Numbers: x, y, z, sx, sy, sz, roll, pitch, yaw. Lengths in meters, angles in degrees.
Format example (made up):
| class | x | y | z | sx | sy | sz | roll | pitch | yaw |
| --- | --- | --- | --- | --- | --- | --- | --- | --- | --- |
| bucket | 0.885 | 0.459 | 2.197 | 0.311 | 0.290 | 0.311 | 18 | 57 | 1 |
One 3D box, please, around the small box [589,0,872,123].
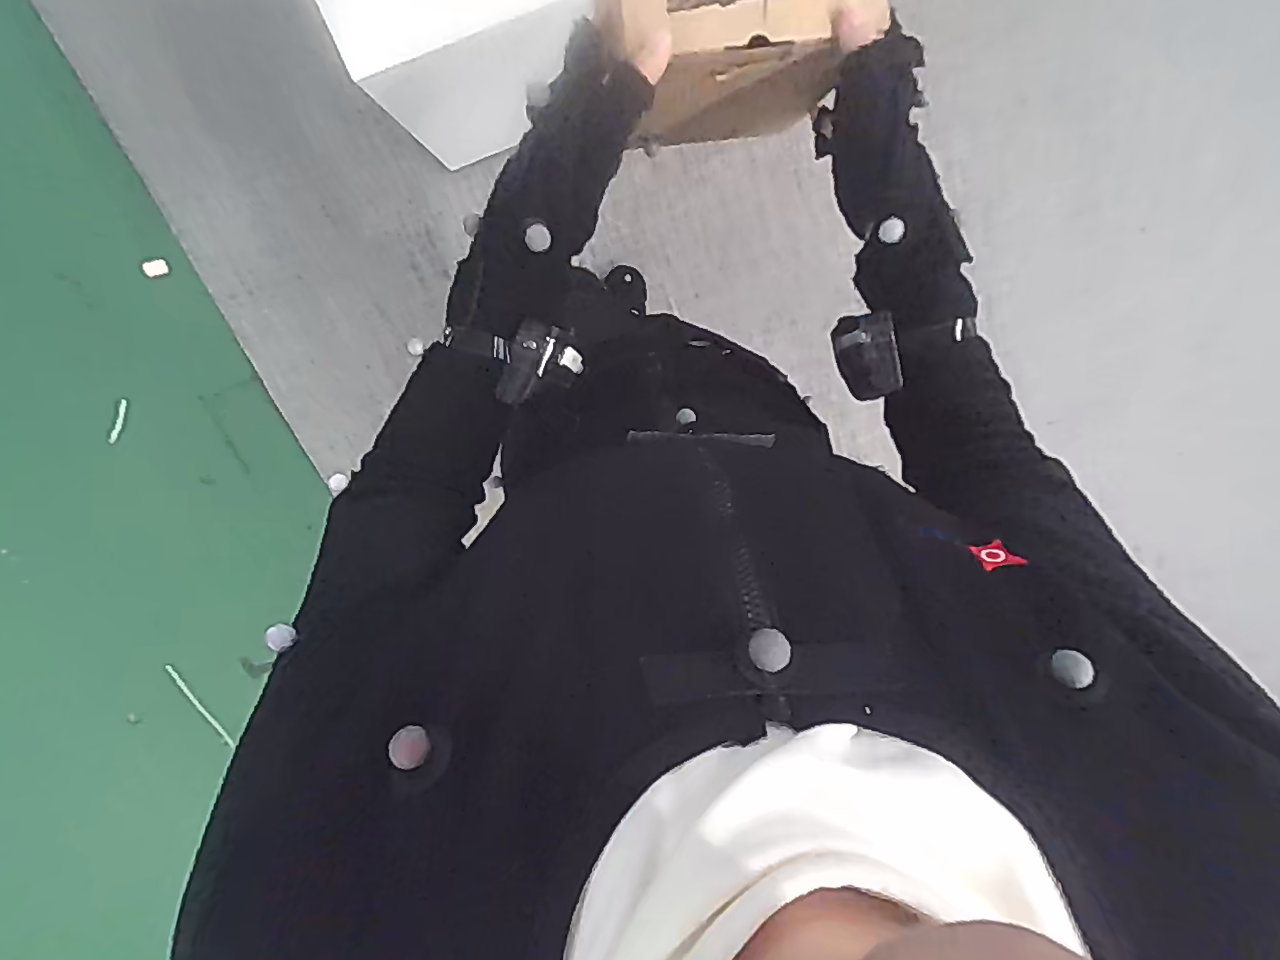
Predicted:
| class | x | y | z | sx | sy | sz | roll | pitch | yaw |
| --- | --- | --- | --- | --- | --- | --- | --- | --- | --- |
| small box | 0.048 | -0.381 | 0.385 | 0.168 | 0.176 | 0.179 | -8 | 104 | -4 |
